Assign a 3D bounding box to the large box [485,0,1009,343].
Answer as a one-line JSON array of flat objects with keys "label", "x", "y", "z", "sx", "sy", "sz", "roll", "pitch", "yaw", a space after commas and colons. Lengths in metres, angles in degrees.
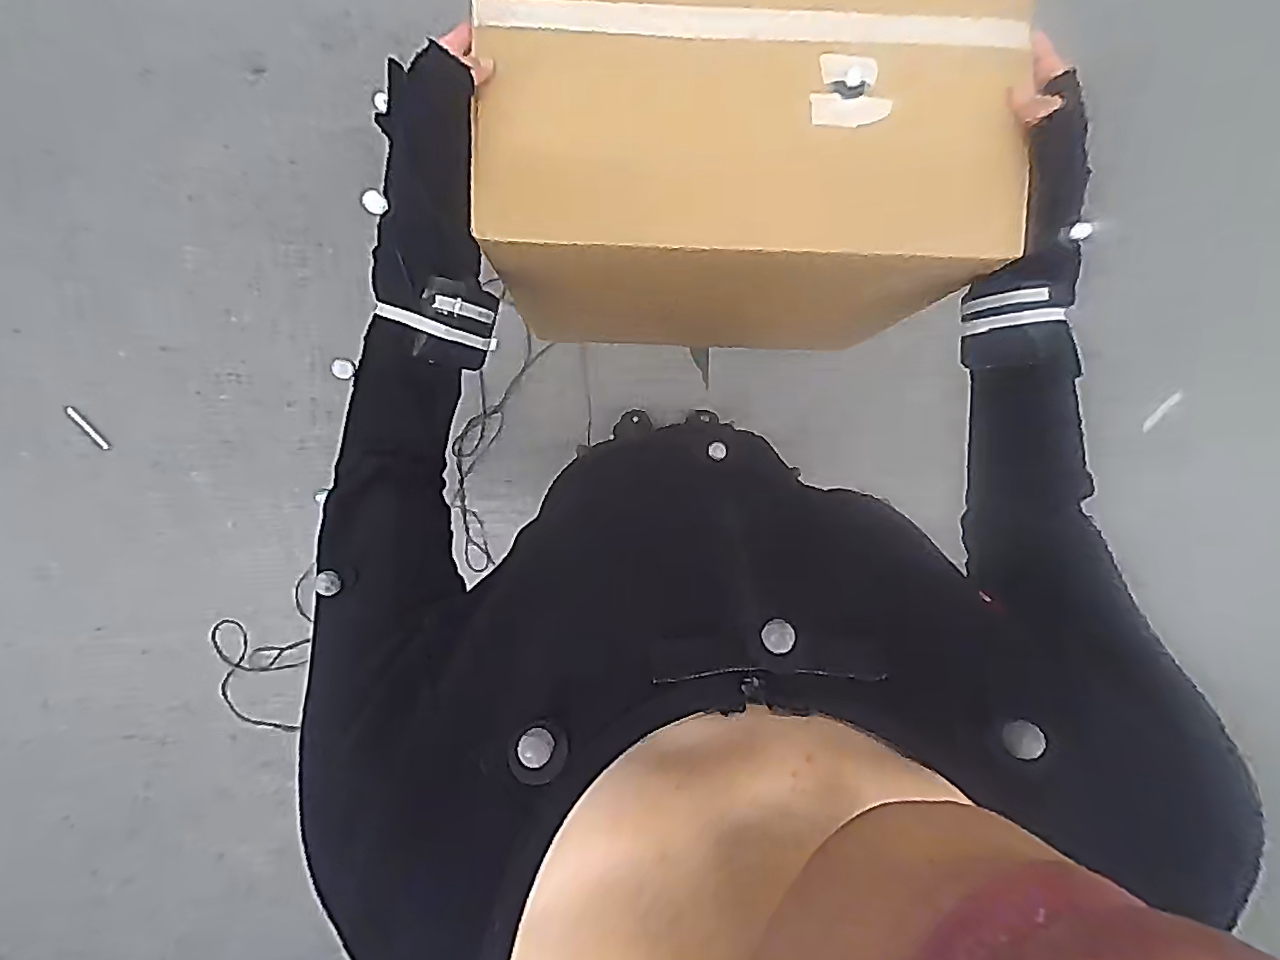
[{"label": "large box", "x": 0.075, "y": -0.332, "z": 0.556, "sx": 0.408, "sy": 0.320, "sz": 0.320, "roll": 1, "pitch": 91, "yaw": -2}]
